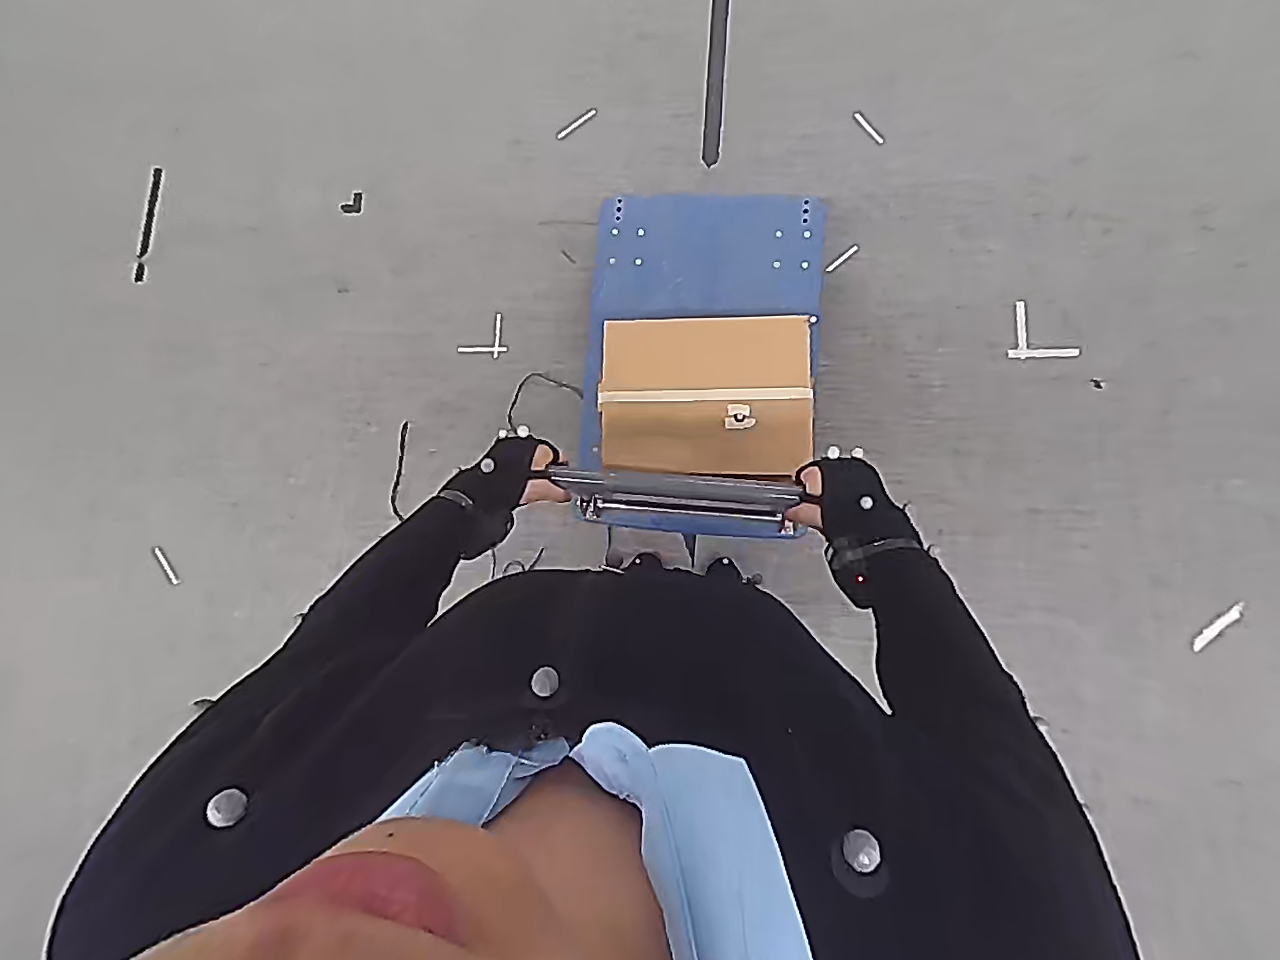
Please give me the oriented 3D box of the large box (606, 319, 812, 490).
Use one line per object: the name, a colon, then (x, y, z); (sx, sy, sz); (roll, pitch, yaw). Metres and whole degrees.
large box: (0.141, -0.146, 1.206); (0.408, 0.320, 0.320); (0, 85, 5)
